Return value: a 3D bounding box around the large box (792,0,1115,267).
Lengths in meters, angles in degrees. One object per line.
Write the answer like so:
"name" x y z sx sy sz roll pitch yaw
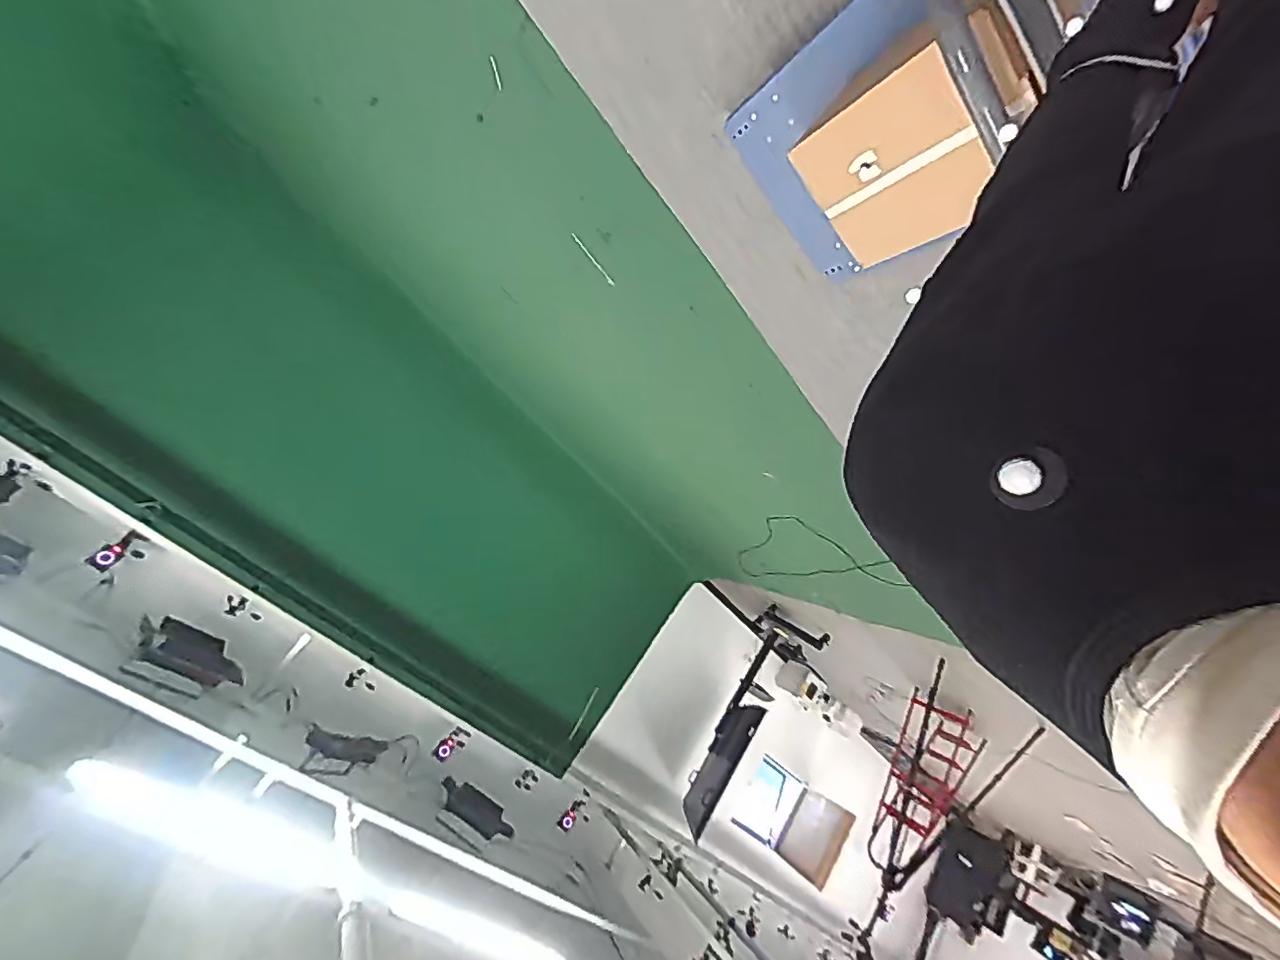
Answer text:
"large box" 0.597 -0.704 1.065 0.320 0.320 0.408 45 160 -21
